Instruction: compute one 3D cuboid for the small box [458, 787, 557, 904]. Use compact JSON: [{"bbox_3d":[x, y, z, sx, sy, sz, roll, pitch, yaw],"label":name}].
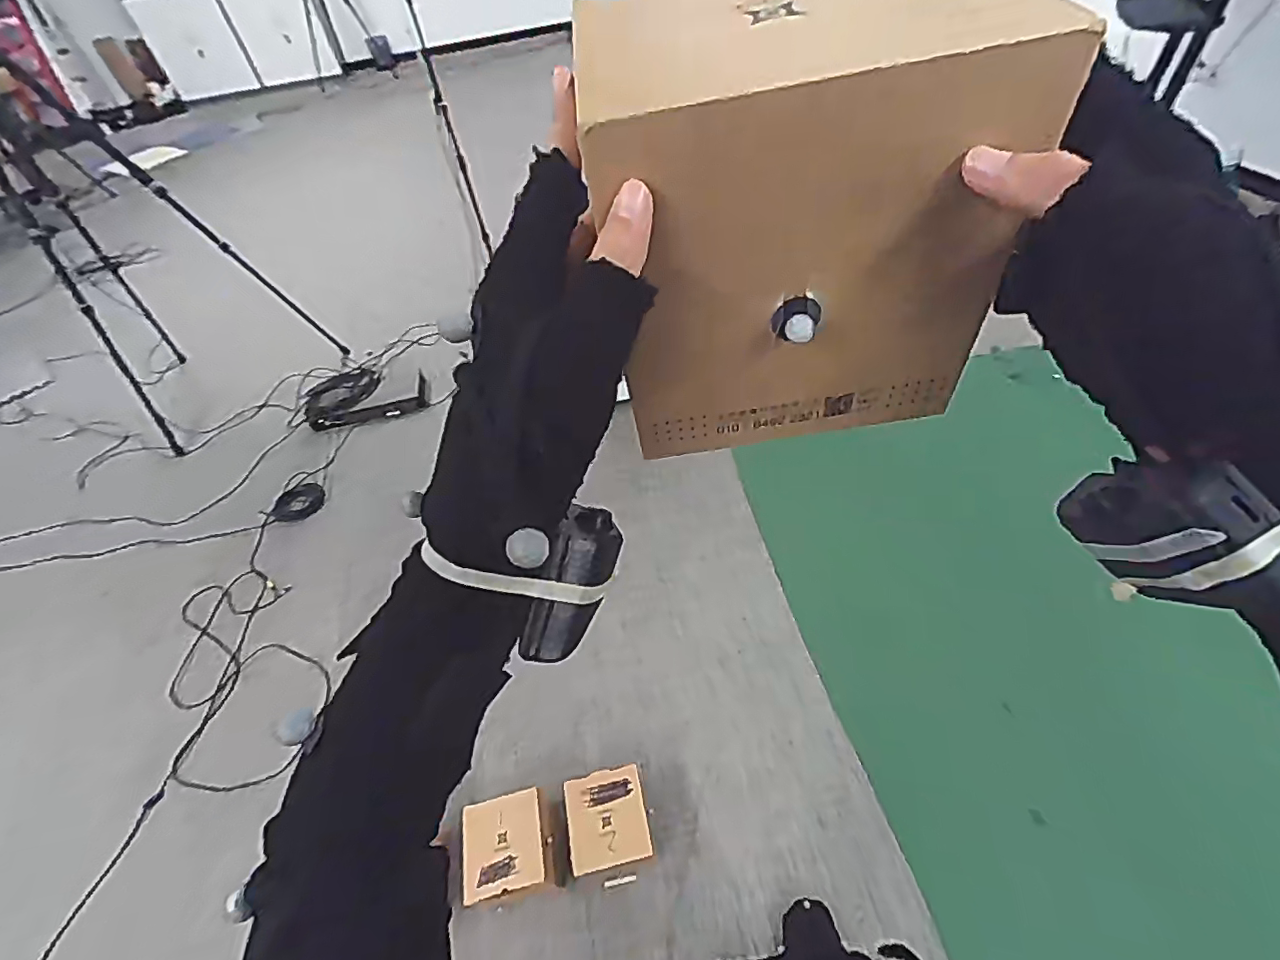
[{"bbox_3d":[-0.286,0.804,1.184,0.168,0.176,0.179,-14,48,-3],"label":"small box"}]
